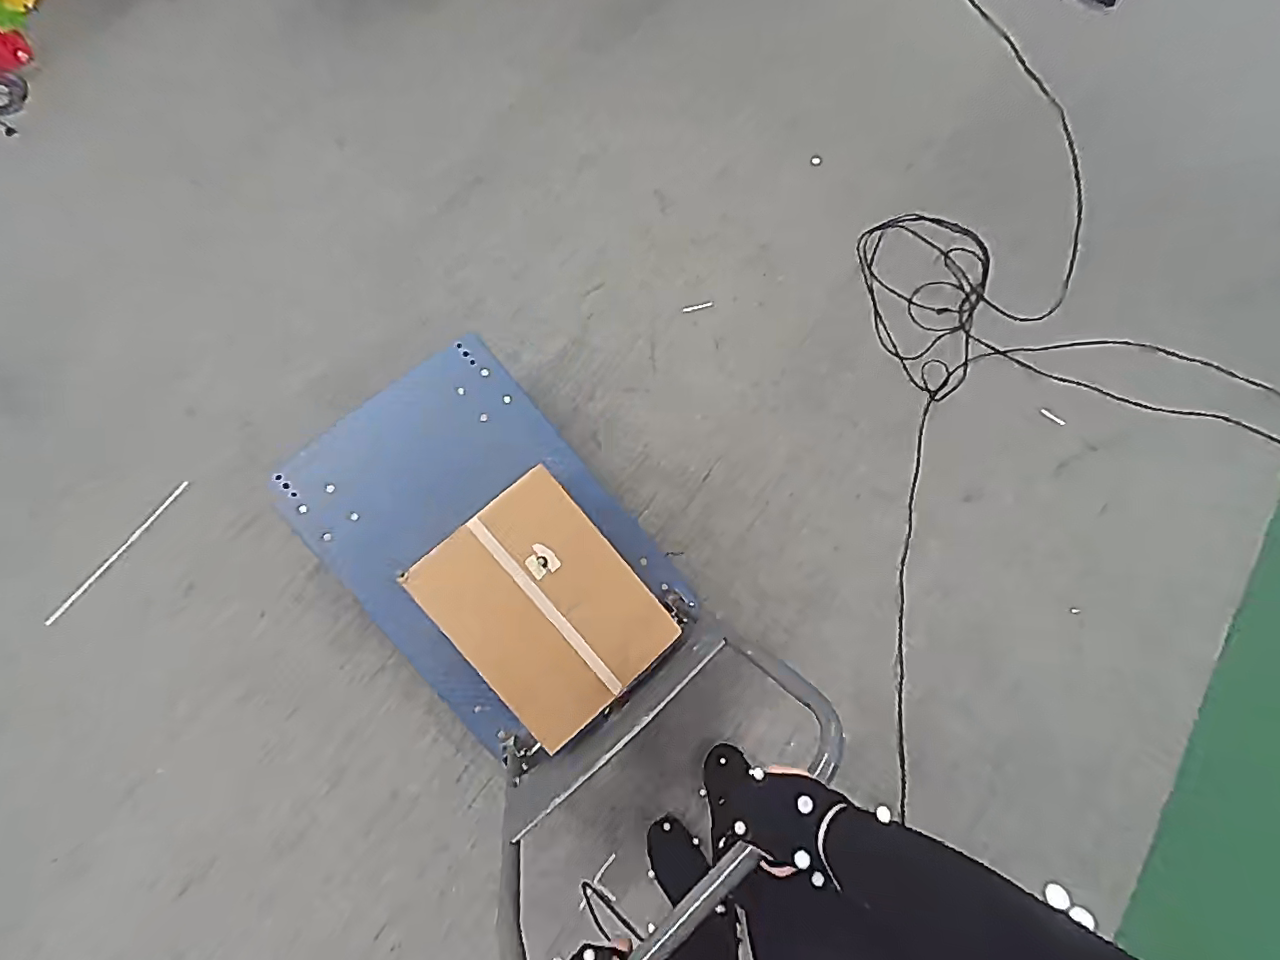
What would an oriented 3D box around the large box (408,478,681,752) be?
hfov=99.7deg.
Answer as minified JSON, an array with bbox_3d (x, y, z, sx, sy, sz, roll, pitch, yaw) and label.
[{"bbox_3d":[-0.184,0.252,1.116,0.320,0.320,0.408,-41,92,-11],"label":"large box"}]
